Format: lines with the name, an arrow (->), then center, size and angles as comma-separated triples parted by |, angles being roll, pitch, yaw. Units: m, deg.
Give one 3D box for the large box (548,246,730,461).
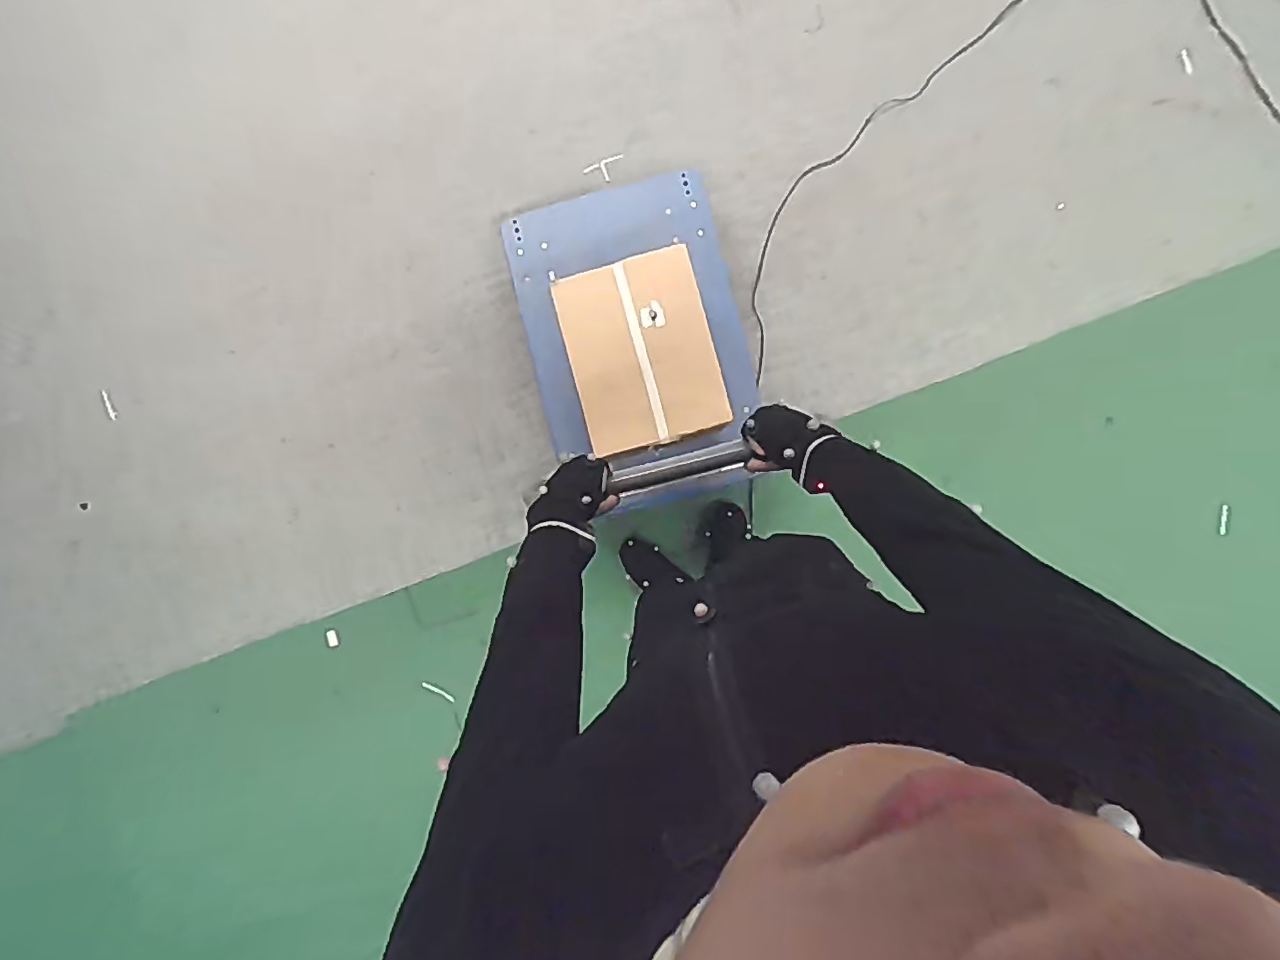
large box -> 0.006, -0.283, 1.337 | 0.320, 0.320, 0.408 | -16, 89, 2
